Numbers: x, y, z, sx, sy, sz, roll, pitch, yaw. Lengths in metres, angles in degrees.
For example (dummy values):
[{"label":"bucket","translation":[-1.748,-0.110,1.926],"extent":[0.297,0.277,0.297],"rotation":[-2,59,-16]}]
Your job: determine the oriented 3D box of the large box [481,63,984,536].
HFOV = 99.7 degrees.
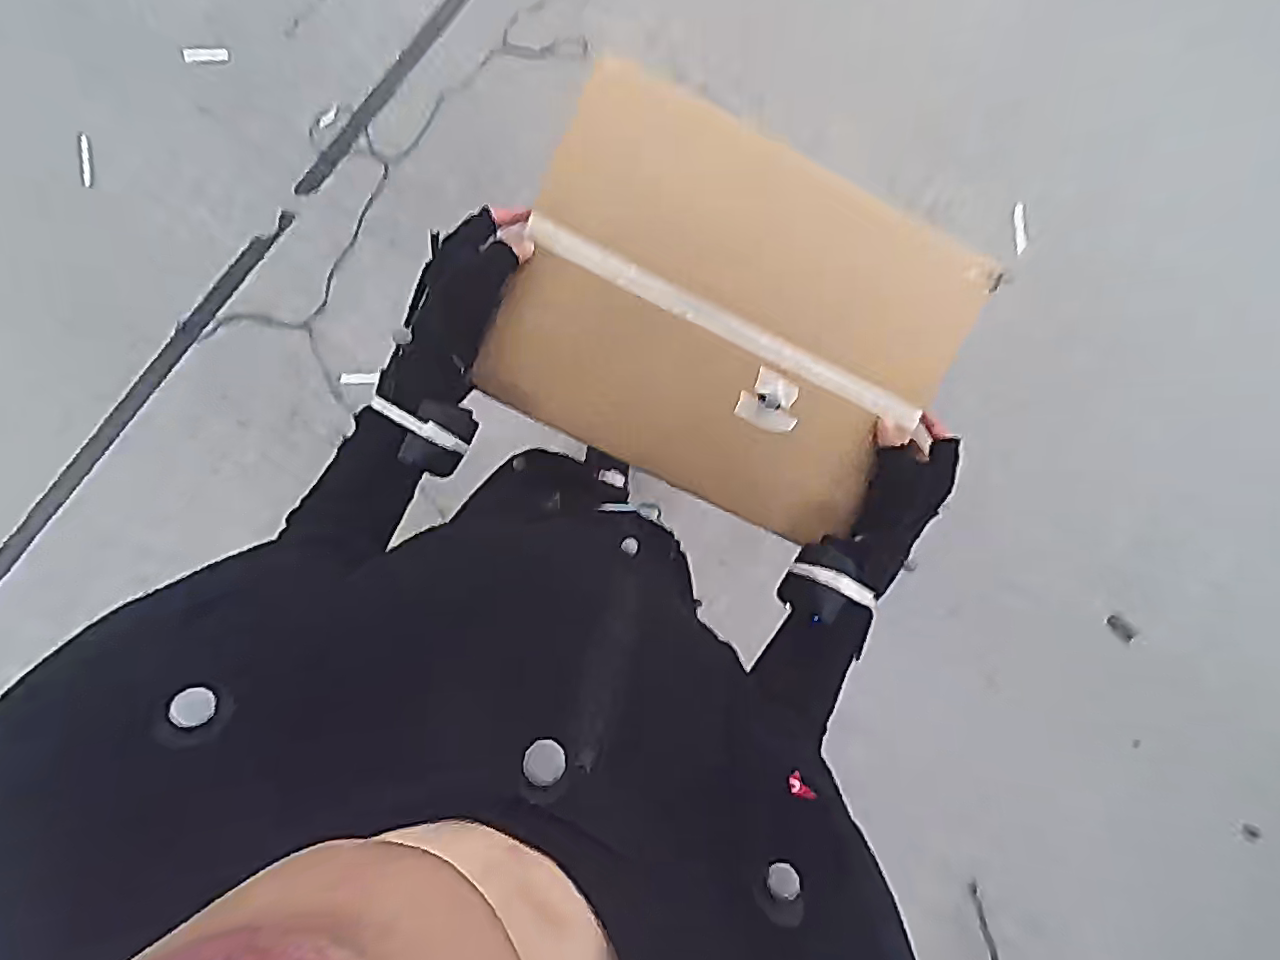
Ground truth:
[{"label":"large box","translation":[0.082,-0.183,0.664],"extent":[0.408,0.320,0.320],"rotation":[26,100,-6]}]
